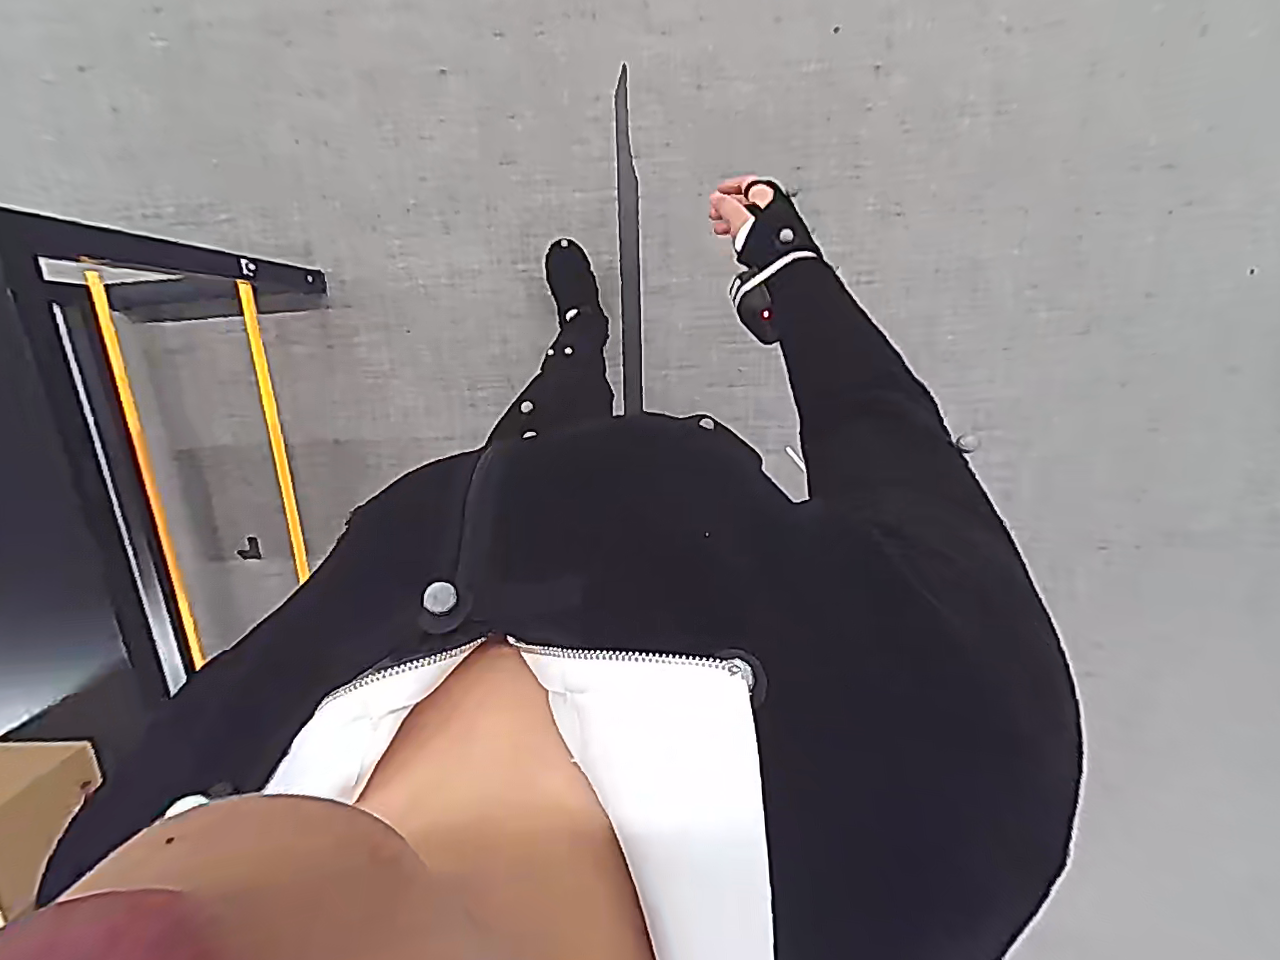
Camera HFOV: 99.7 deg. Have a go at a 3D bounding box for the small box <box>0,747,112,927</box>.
[{"bbox_3d":[-0.955,0.519,0.794,0.179,0.176,0.168,-2,105,2],"label":"small box"}]
